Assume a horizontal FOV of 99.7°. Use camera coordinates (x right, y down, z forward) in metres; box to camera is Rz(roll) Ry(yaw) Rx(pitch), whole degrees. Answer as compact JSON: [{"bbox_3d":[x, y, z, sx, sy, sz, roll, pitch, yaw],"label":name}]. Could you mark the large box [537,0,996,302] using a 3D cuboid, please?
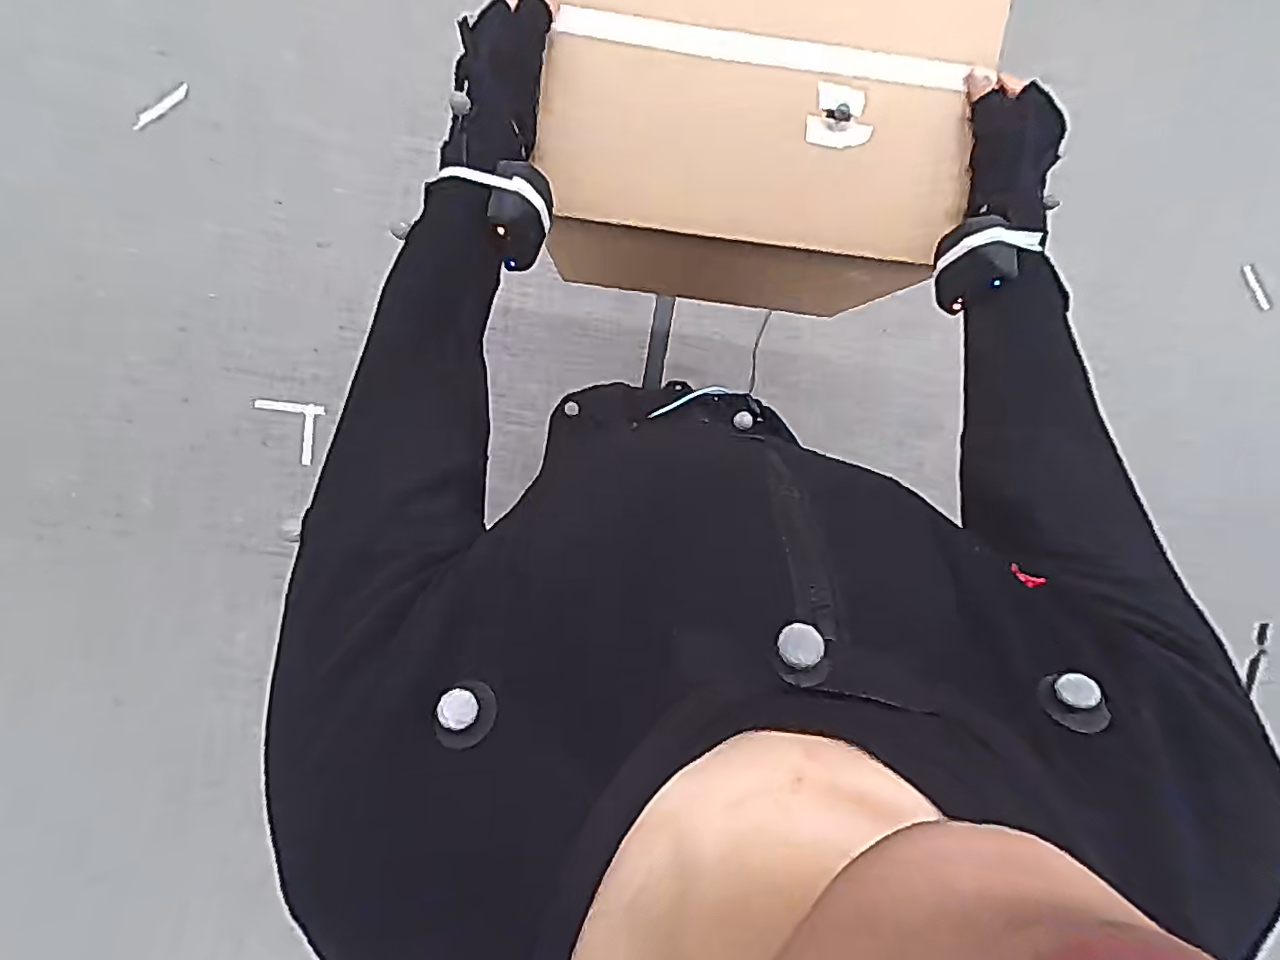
[{"bbox_3d":[0.107,-0.409,0.630,0.408,0.320,0.320,6,100,-4],"label":"large box"}]
